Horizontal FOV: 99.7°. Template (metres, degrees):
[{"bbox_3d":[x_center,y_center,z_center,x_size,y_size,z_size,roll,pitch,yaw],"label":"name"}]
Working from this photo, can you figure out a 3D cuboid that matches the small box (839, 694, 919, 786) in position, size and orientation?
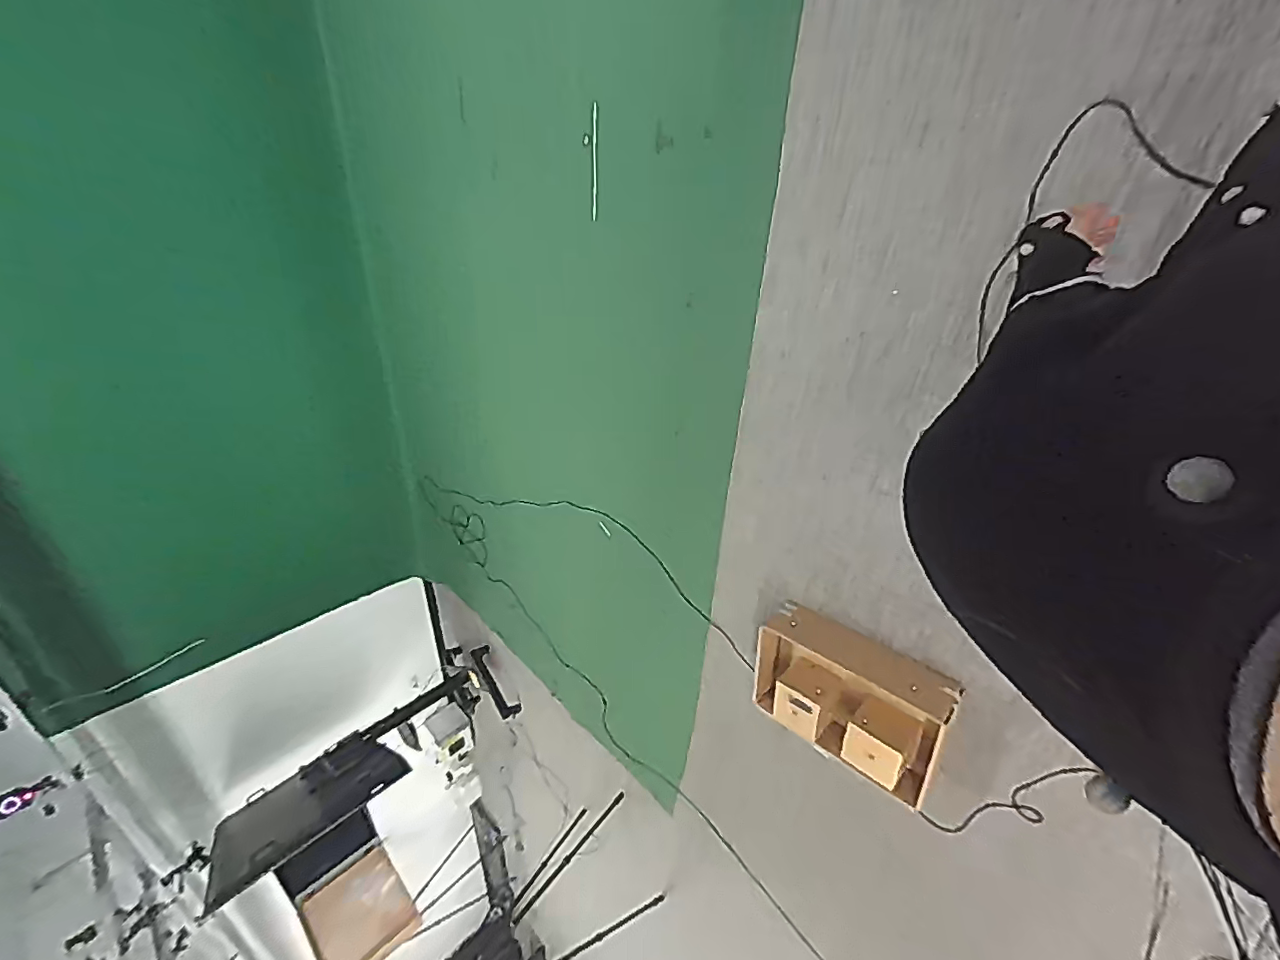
[{"bbox_3d":[0.781,0.839,1.765,0.179,0.176,0.168,24,124,41],"label":"small box"}]
